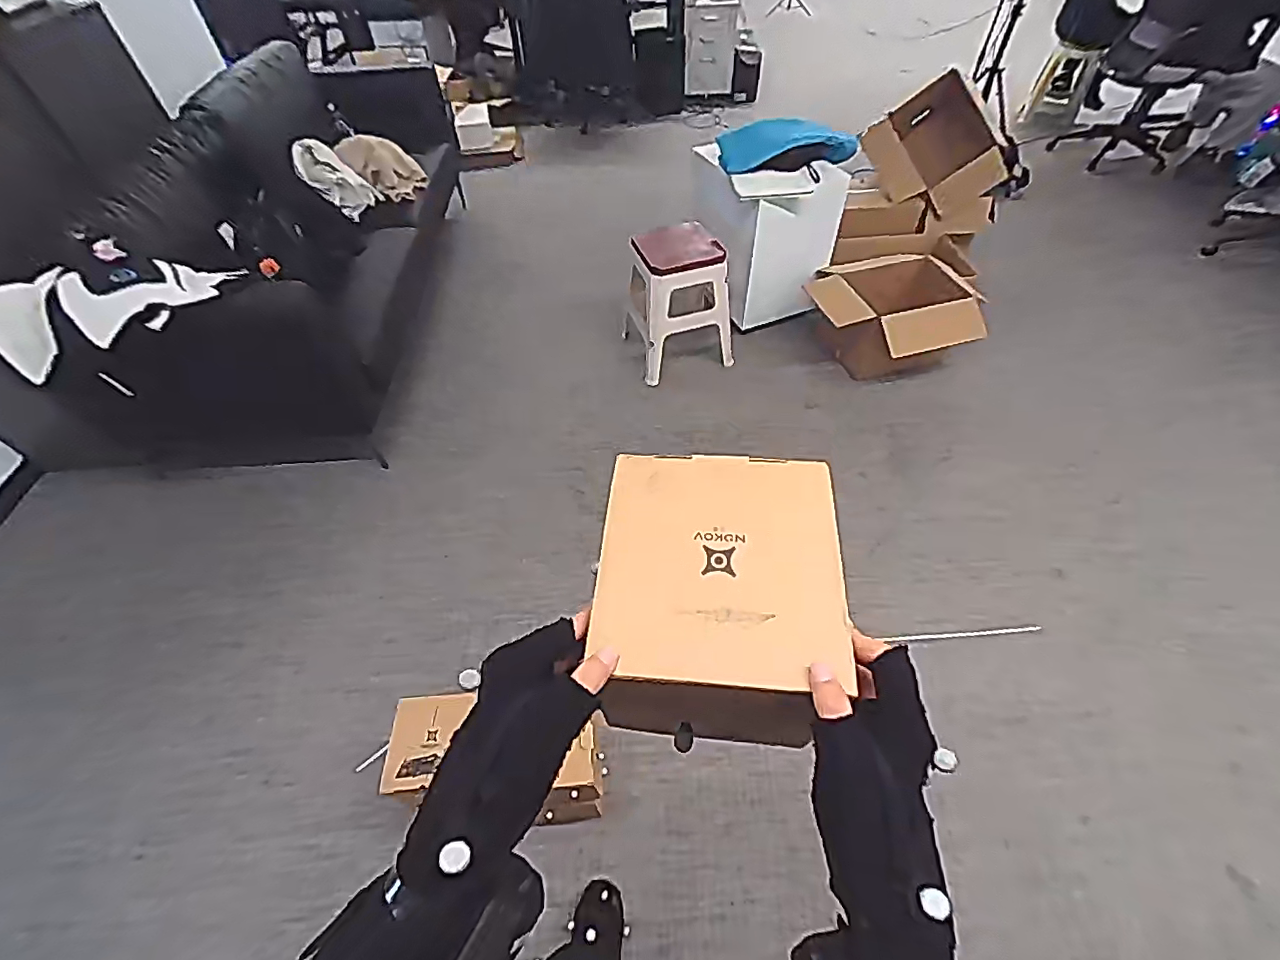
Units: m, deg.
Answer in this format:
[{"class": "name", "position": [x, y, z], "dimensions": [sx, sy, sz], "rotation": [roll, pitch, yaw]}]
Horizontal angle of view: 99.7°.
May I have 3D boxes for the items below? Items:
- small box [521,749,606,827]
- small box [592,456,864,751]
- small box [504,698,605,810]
[{"class": "small box", "position": [-0.169, 0.674, 1.237], "dimensions": [0.168, 0.176, 0.179], "rotation": [-5, 50, -1]}, {"class": "small box", "position": [0.064, 0.102, 0.436], "dimensions": [0.168, 0.176, 0.179], "rotation": [2, 55, 6]}, {"class": "small box", "position": [-0.170, 0.566, 1.114], "dimensions": [0.179, 0.176, 0.168], "rotation": [-5, 51, -2]}]
